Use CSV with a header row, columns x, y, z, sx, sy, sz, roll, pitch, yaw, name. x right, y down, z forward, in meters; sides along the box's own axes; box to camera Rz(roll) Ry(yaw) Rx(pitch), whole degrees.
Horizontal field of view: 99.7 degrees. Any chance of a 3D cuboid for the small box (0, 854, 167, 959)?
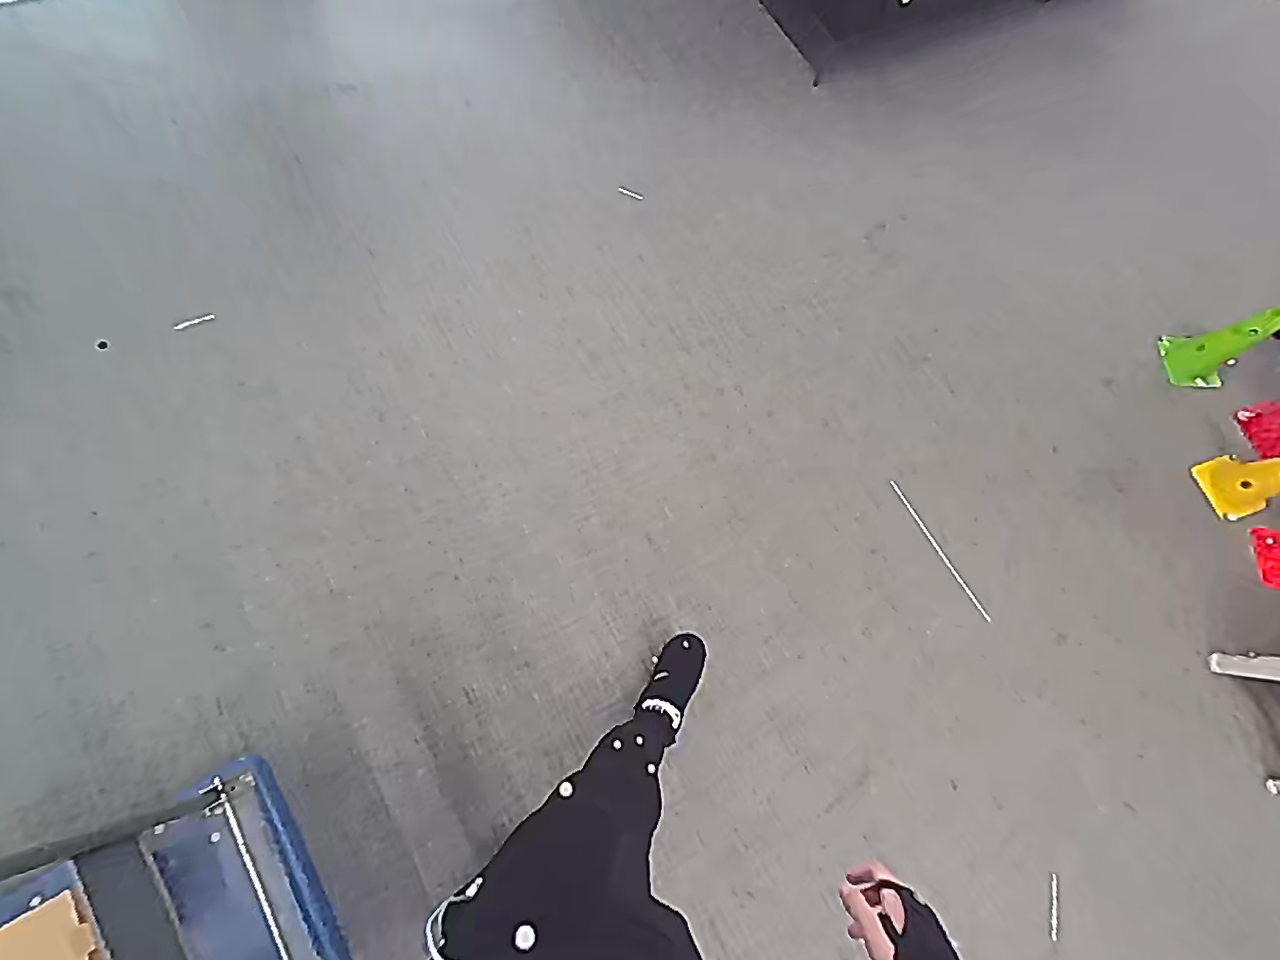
x,y,z,sx,sy,sz,roll,pitch,yaw,name
-0.965,0.780,0.909,0.179,0.176,0.168,-27,77,-16,small box
